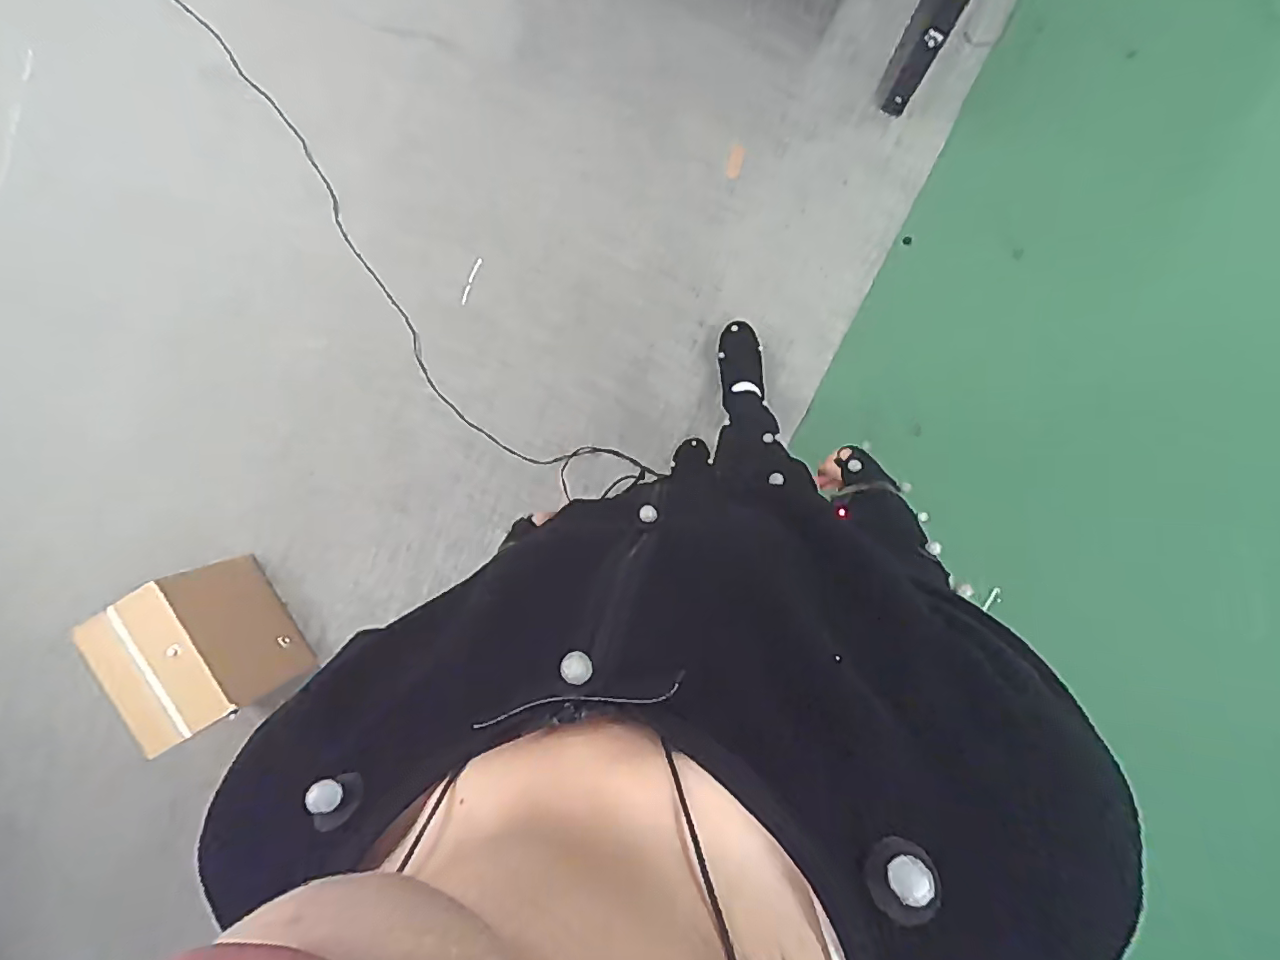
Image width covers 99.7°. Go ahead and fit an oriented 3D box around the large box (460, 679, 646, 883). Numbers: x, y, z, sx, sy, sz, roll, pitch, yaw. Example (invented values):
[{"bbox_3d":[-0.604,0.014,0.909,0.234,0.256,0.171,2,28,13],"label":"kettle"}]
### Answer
[{"bbox_3d":[-0.216,0.783,1.460,0.408,0.320,0.320,12,98,4],"label":"large box"}]
